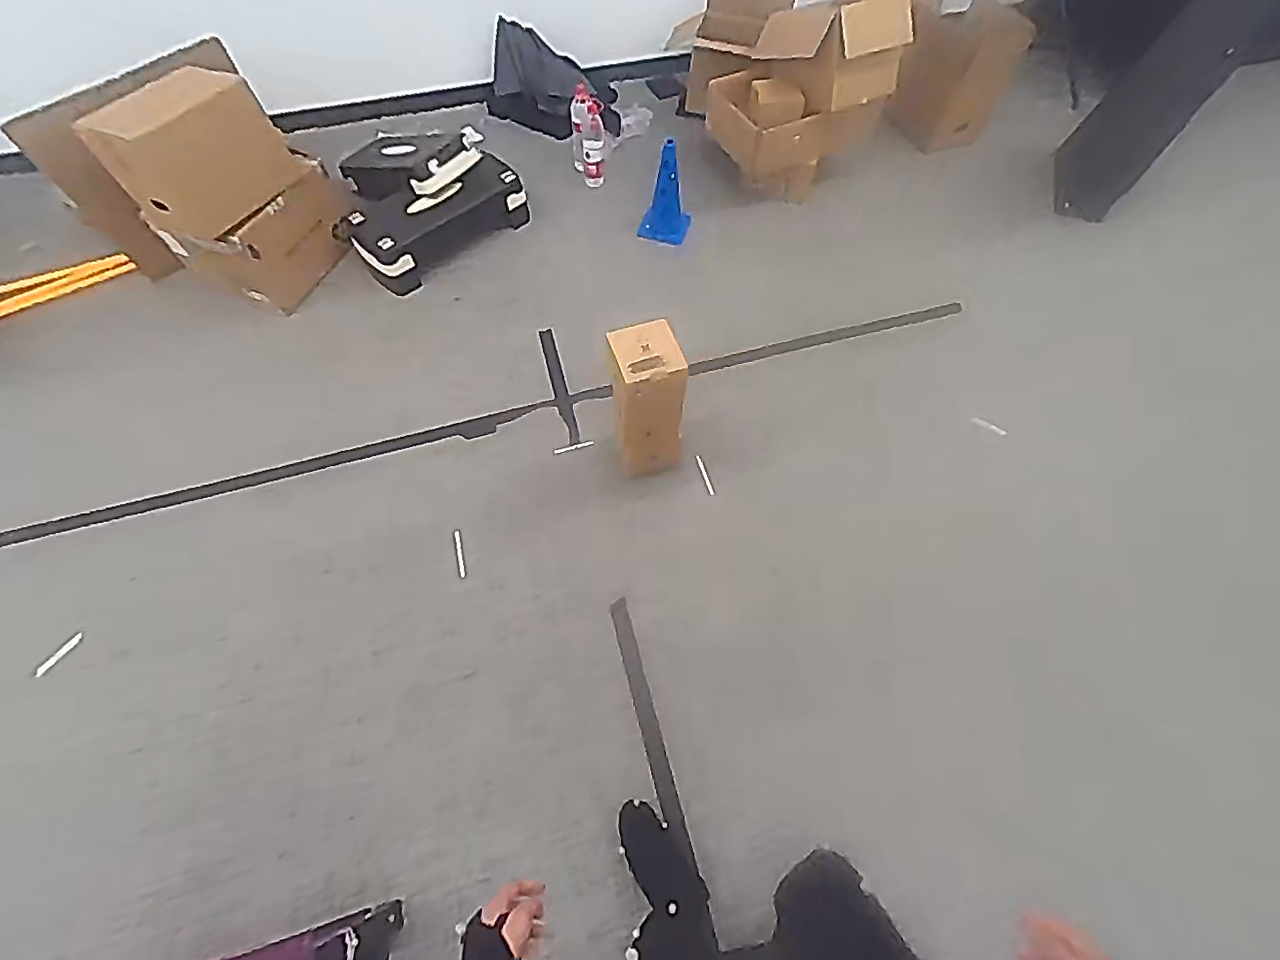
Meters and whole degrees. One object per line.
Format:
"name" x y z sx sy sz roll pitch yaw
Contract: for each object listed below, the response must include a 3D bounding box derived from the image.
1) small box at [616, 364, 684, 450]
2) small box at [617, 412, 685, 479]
"small box" 0.024 -0.212 1.589 0.168 0.176 0.179 -11 64 -7
"small box" 0.030 -0.127 1.728 0.179 0.176 0.168 -16 64 -8
